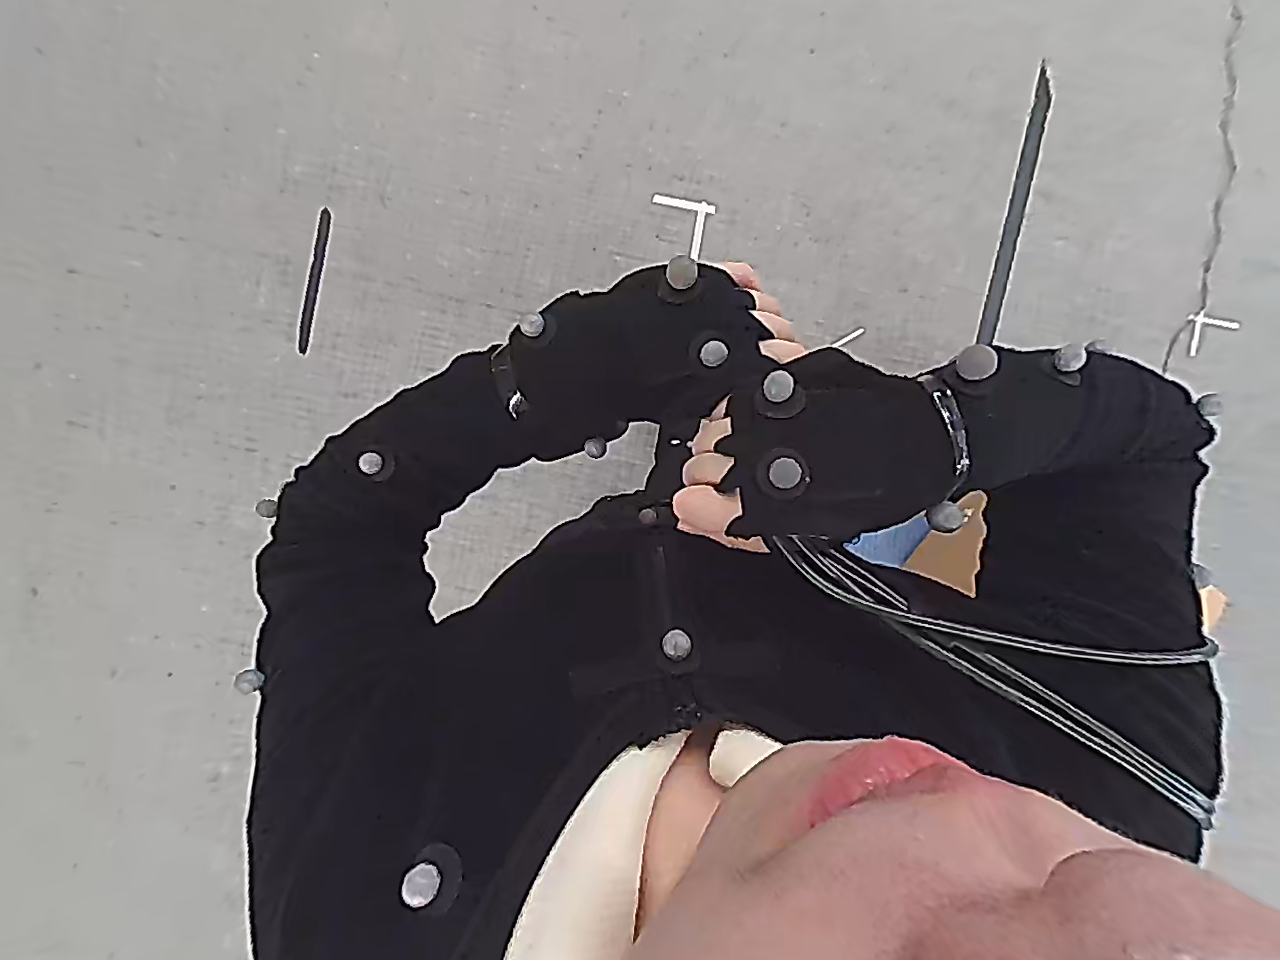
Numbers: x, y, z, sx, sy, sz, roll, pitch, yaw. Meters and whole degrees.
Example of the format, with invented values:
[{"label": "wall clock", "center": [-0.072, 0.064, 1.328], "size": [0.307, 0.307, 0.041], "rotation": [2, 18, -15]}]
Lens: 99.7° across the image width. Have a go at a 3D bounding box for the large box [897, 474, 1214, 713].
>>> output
[{"label": "large box", "center": [0.887, 0.222, 1.210], "size": [0.408, 0.320, 0.320], "rotation": [39, 90, -3]}]
